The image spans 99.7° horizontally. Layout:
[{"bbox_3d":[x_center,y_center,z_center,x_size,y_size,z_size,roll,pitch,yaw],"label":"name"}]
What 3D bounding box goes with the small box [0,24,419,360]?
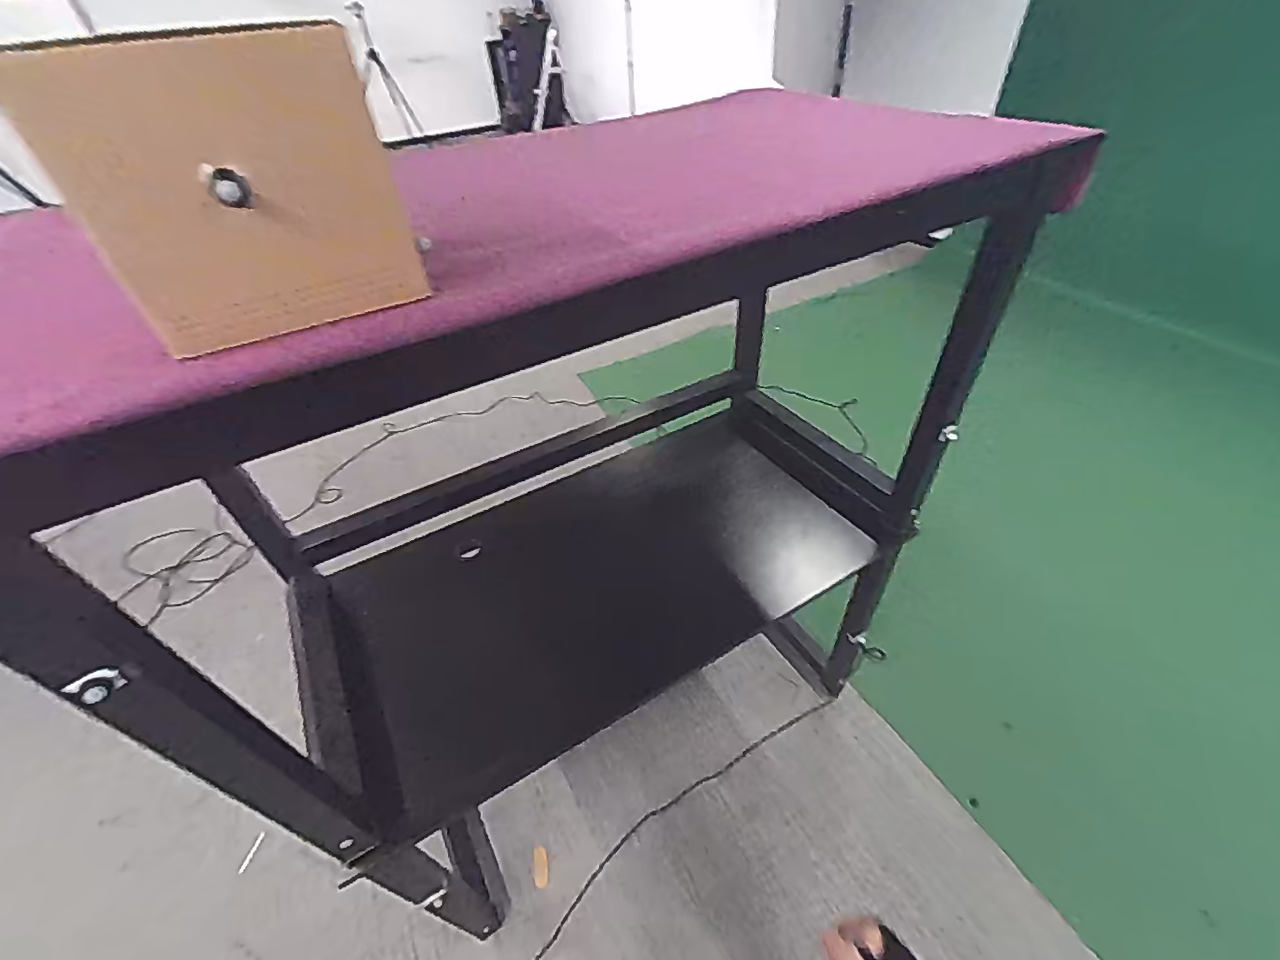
[{"bbox_3d":[-0.279,-0.213,0.393,0.179,0.176,0.168,-24,45,-18],"label":"small box"}]
